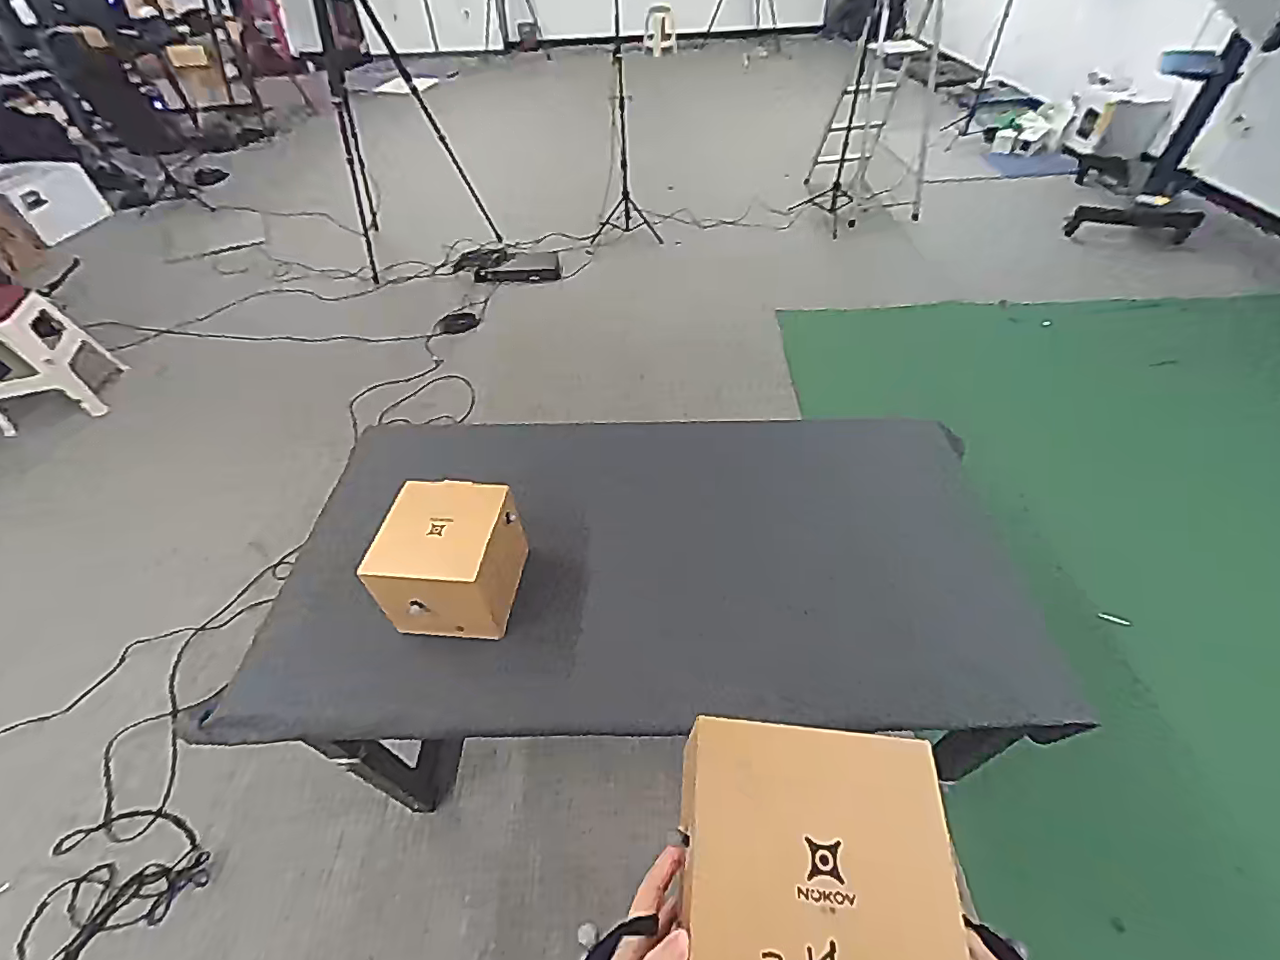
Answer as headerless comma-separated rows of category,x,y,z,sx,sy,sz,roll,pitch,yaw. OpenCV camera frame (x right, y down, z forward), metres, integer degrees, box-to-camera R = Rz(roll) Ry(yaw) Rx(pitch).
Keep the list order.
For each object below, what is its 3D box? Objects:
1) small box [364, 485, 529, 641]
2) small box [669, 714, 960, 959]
small box,-0.279,0.129,0.832,0.168,0.176,0.179,3,46,5
small box,0.112,0.296,0.409,0.168,0.176,0.179,5,56,4
